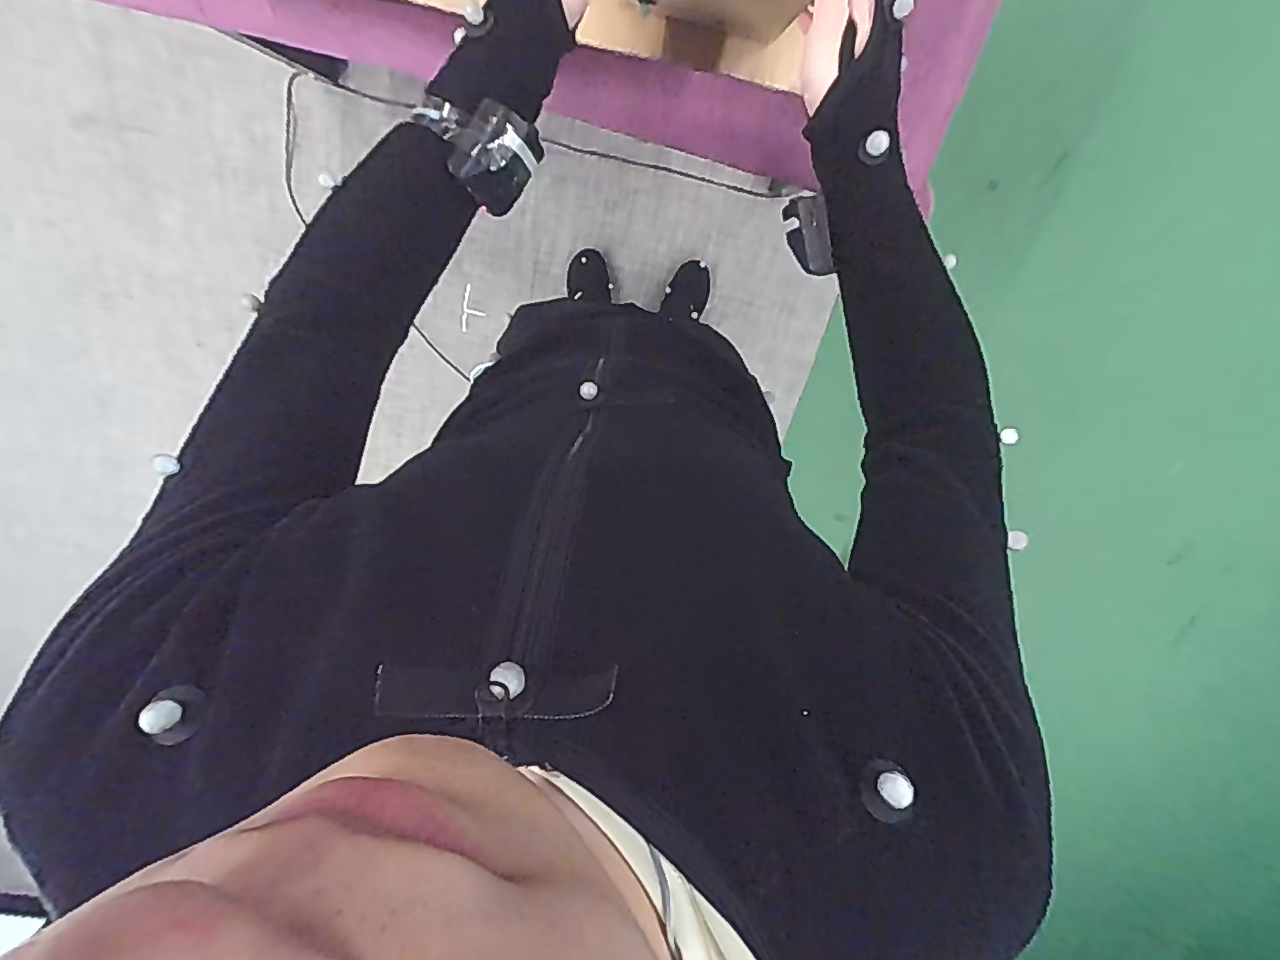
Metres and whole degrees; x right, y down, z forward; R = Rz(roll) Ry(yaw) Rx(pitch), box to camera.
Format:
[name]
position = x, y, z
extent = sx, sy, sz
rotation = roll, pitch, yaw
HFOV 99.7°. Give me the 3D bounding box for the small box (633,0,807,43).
[small box]
position = 0.074, -0.480, 0.419
extent = 0.168, 0.176, 0.179
rotation = 9, 114, -8
